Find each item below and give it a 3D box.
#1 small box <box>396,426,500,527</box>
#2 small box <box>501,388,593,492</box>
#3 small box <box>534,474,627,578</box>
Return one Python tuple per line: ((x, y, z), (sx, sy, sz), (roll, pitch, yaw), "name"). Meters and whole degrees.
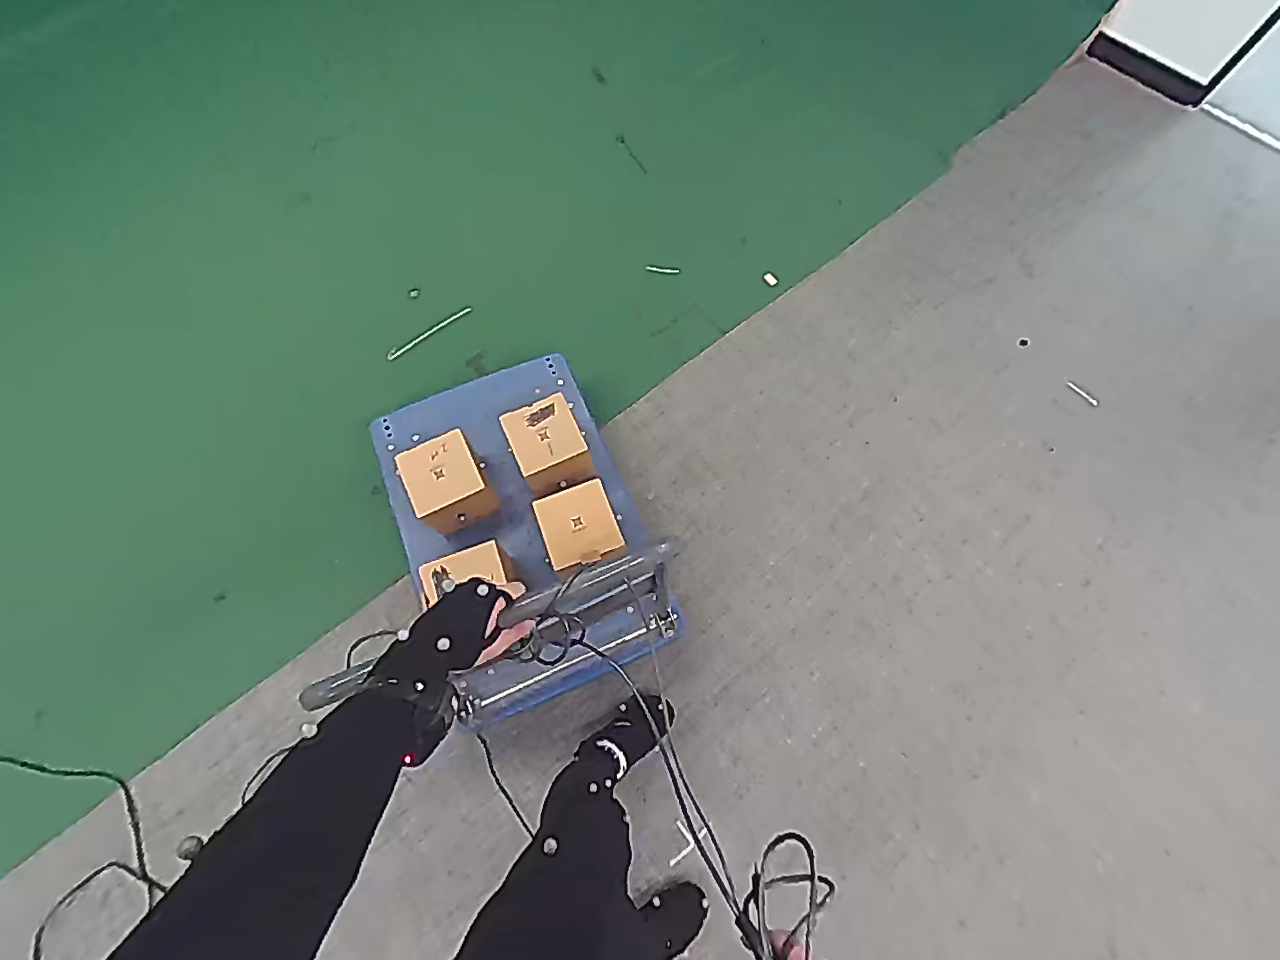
((-0.464, 0.001, 1.331), (0.168, 0.176, 0.179), (-26, 71, -9), "small box")
((-0.228, -0.095, 1.361), (0.168, 0.176, 0.179), (-24, 72, -7), "small box")
((-0.136, 0.114, 1.284), (0.168, 0.176, 0.179), (-21, 71, -6), "small box")
